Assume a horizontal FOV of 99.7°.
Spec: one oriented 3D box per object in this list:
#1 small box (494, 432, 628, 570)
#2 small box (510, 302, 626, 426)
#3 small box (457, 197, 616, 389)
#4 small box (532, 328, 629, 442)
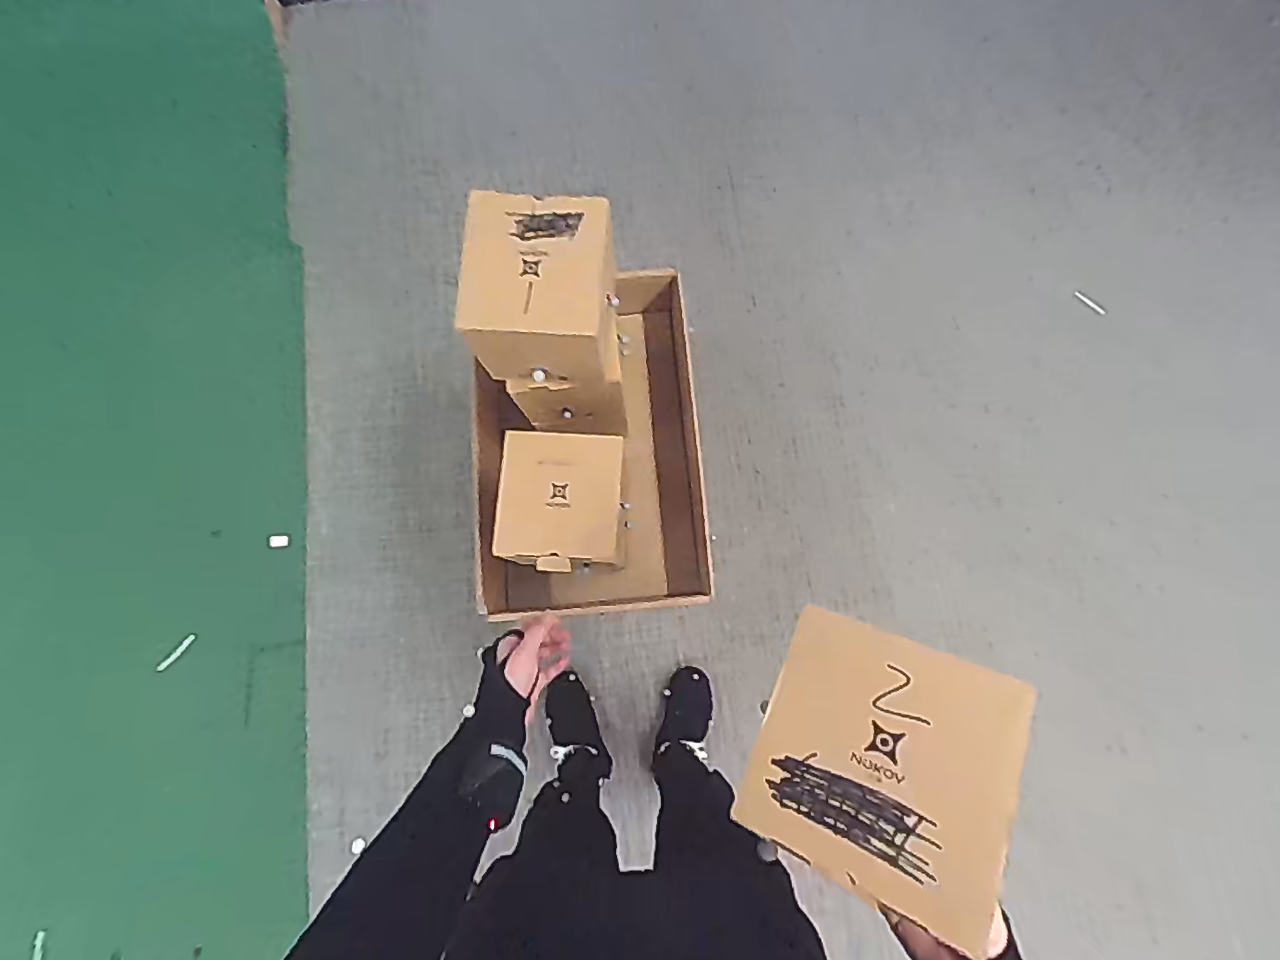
[{"bbox_3d":[-0.107,0.040,0.813,0.168,0.176,0.179,4,77,1],"label":"small box"},{"bbox_3d":[-0.114,-0.200,0.870,0.168,0.176,0.179,-6,80,0],"label":"small box"},{"bbox_3d":[-0.122,-0.235,0.709,0.168,0.176,0.179,3,80,2],"label":"small box"},{"bbox_3d":[-0.111,-0.171,1.029,0.168,0.176,0.179,-6,79,1],"label":"small box"}]
